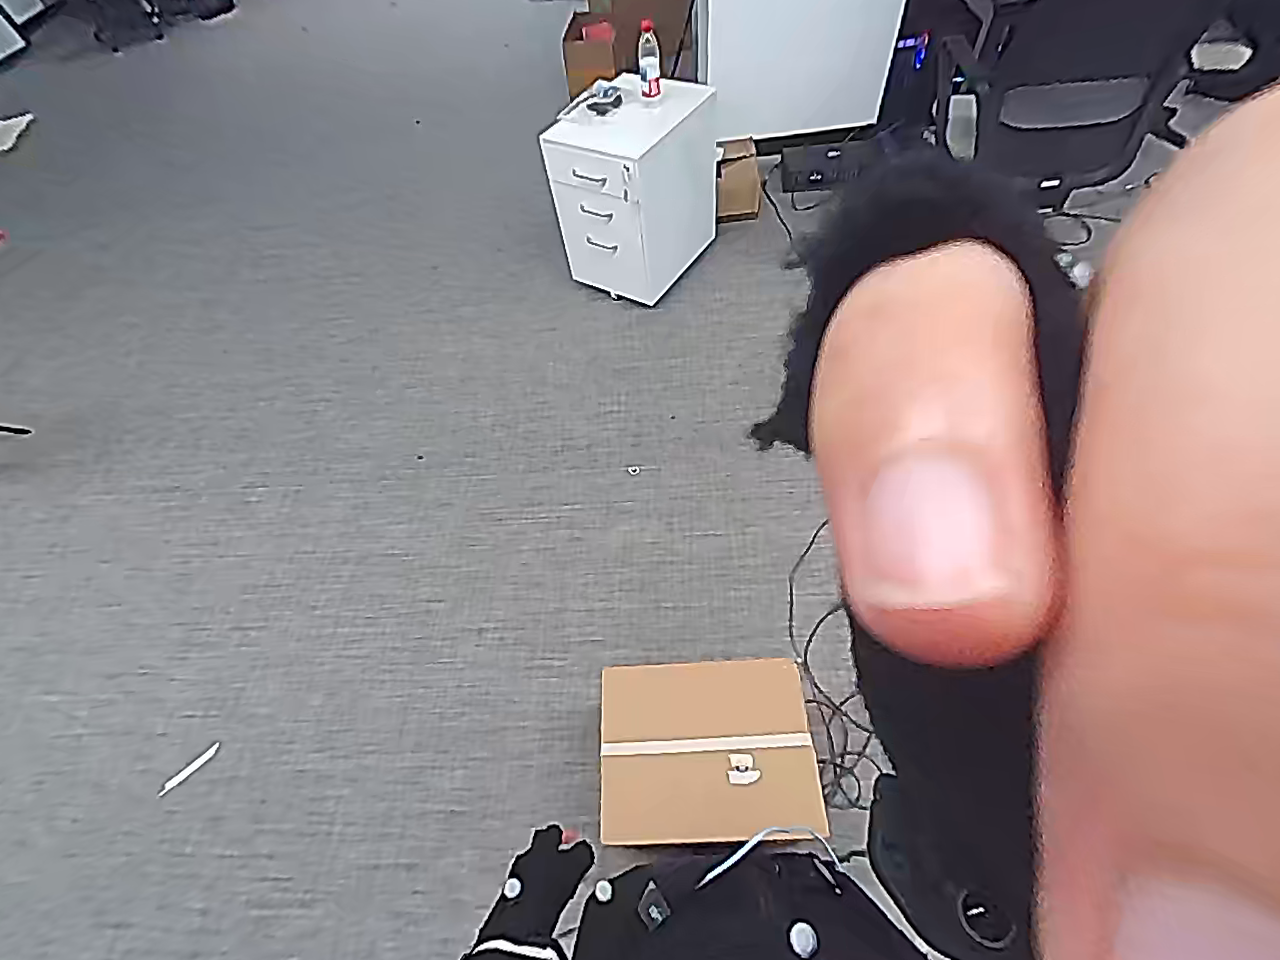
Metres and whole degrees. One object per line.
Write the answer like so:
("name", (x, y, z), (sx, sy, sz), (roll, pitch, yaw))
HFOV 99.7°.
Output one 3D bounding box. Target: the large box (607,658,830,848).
("large box", (0.146, 0.596, 1.167), (0.408, 0.320, 0.320), (-4, 56, 4))
